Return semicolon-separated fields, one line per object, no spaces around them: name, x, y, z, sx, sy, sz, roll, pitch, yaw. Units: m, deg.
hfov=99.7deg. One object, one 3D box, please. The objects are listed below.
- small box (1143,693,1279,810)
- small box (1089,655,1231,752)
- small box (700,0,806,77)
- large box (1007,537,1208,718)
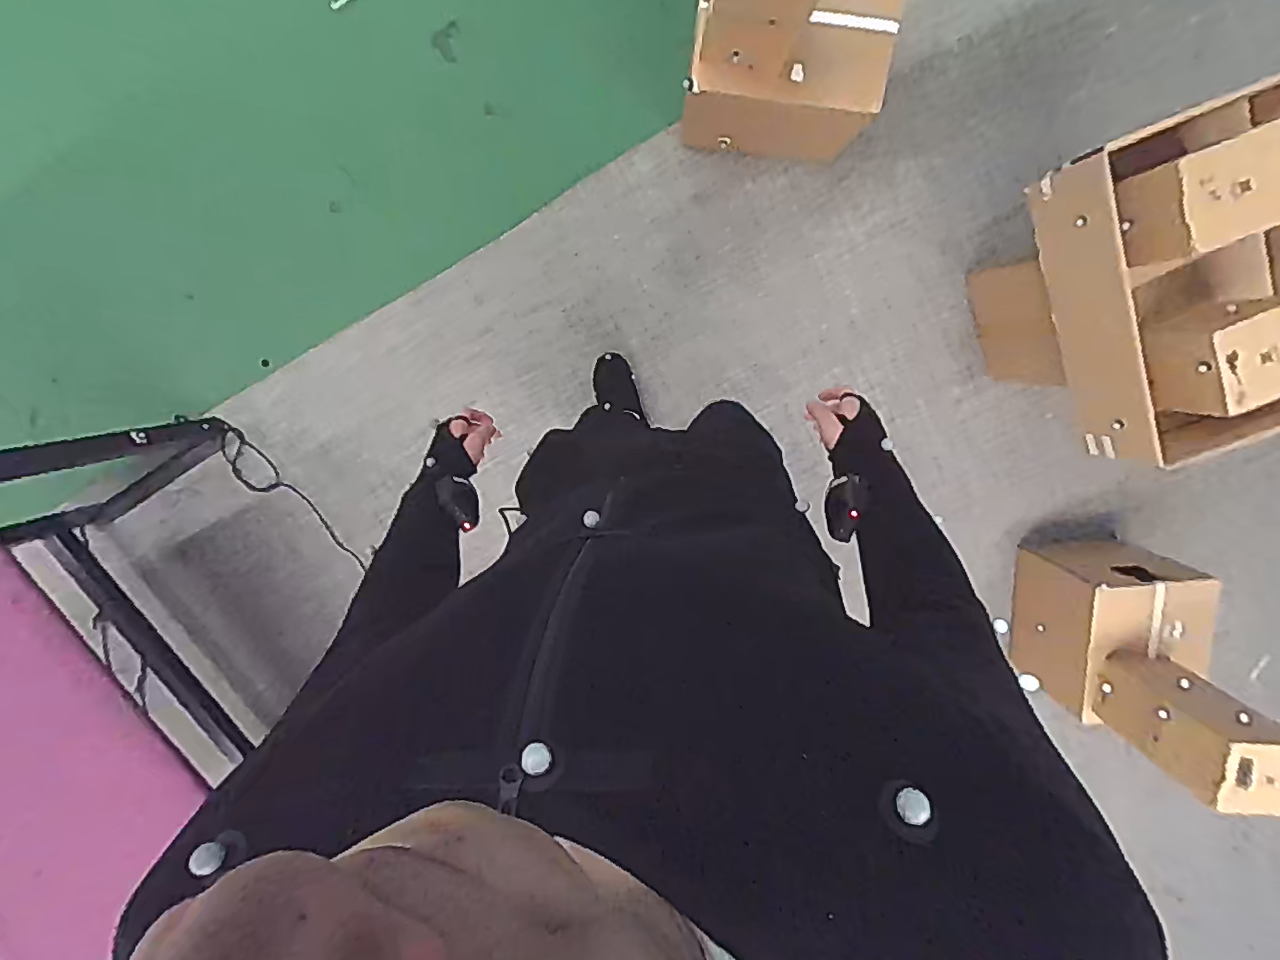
small box;1.277;0.589;1.191;0.179;0.176;0.168;2;102;1
small box;1.287;0.555;1.351;0.179;0.176;0.168;2;102;2
small box;0.213;-0.901;1.008;0.168;0.176;0.179;8;105;-3
large box;1.321;0.411;1.568;0.320;0.320;0.408;-5;102;1
